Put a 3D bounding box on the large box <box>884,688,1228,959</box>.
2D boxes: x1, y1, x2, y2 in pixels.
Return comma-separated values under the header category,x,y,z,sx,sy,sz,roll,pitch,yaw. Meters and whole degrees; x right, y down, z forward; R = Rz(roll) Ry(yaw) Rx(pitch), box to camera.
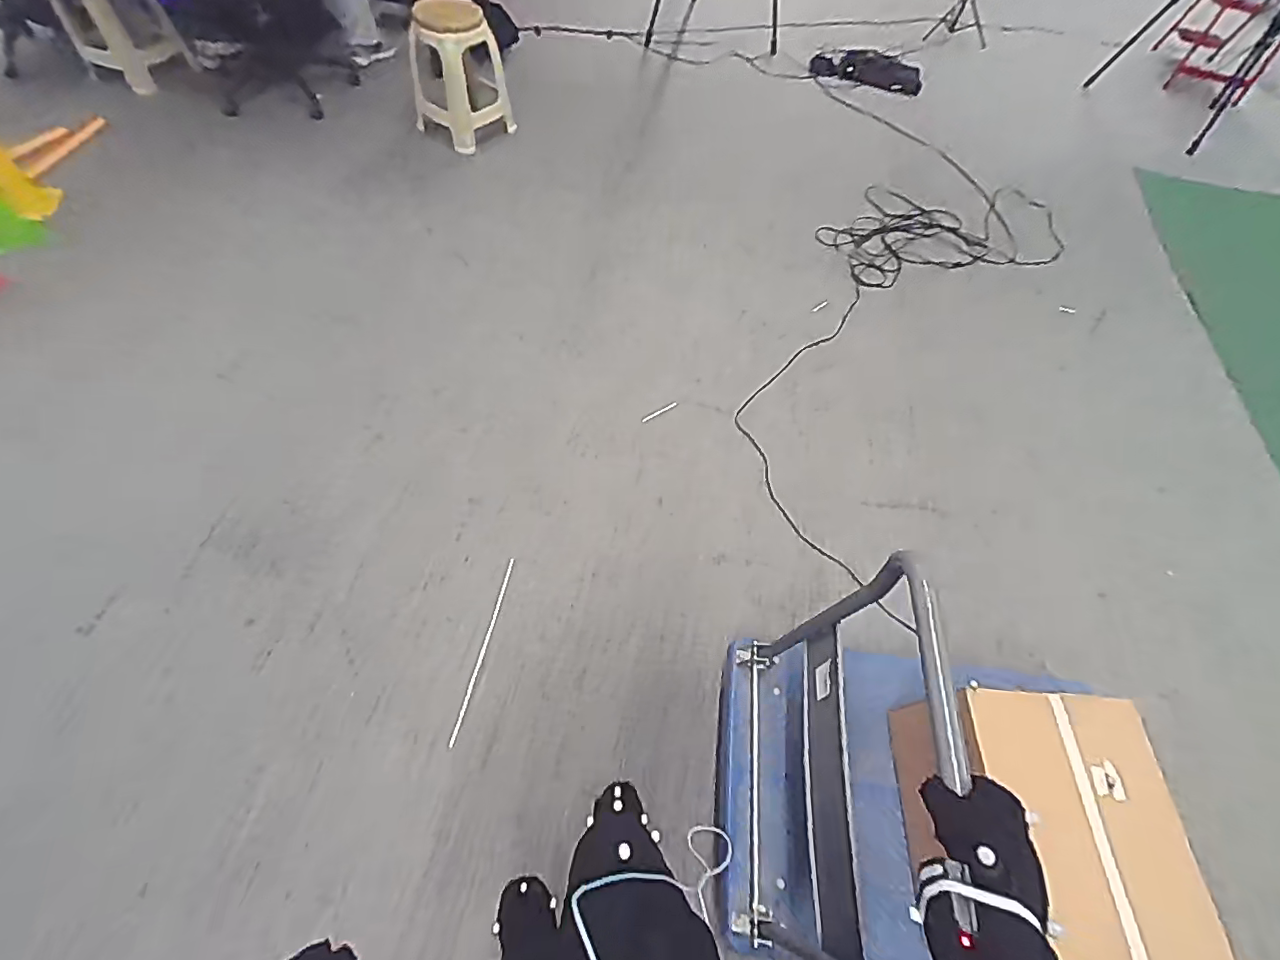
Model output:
category,x,y,z,sx,sy,sz,roll,pitch,yaw
large box,0.696,0.628,0.989,0.320,0.320,0.408,5,58,-3
